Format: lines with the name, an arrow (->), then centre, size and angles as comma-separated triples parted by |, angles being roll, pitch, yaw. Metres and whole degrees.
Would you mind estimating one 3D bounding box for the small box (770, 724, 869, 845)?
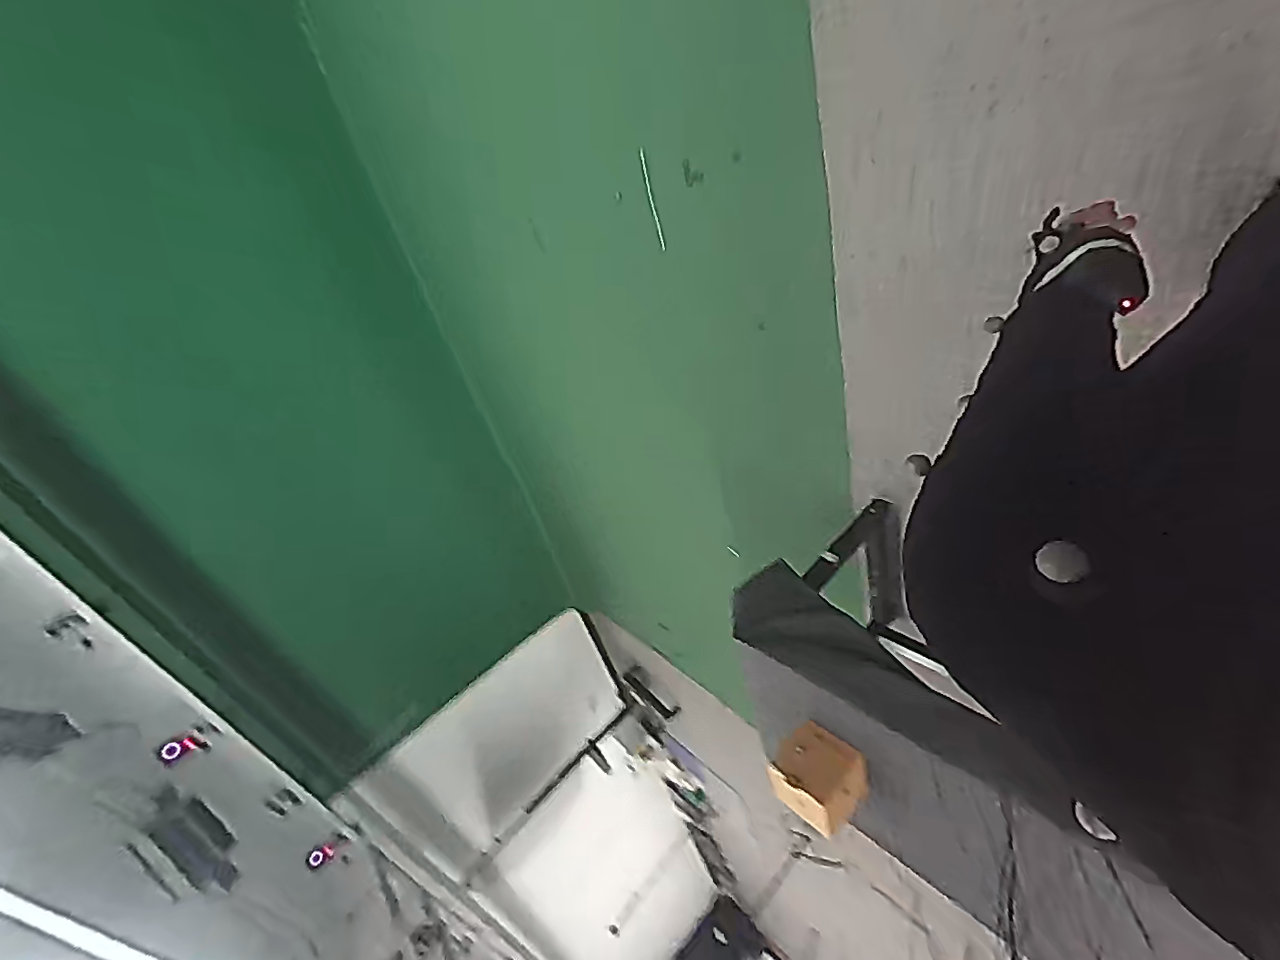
small box -> 0.461, 0.763, 1.374 | 0.168, 0.176, 0.179 | 21, 140, 49
